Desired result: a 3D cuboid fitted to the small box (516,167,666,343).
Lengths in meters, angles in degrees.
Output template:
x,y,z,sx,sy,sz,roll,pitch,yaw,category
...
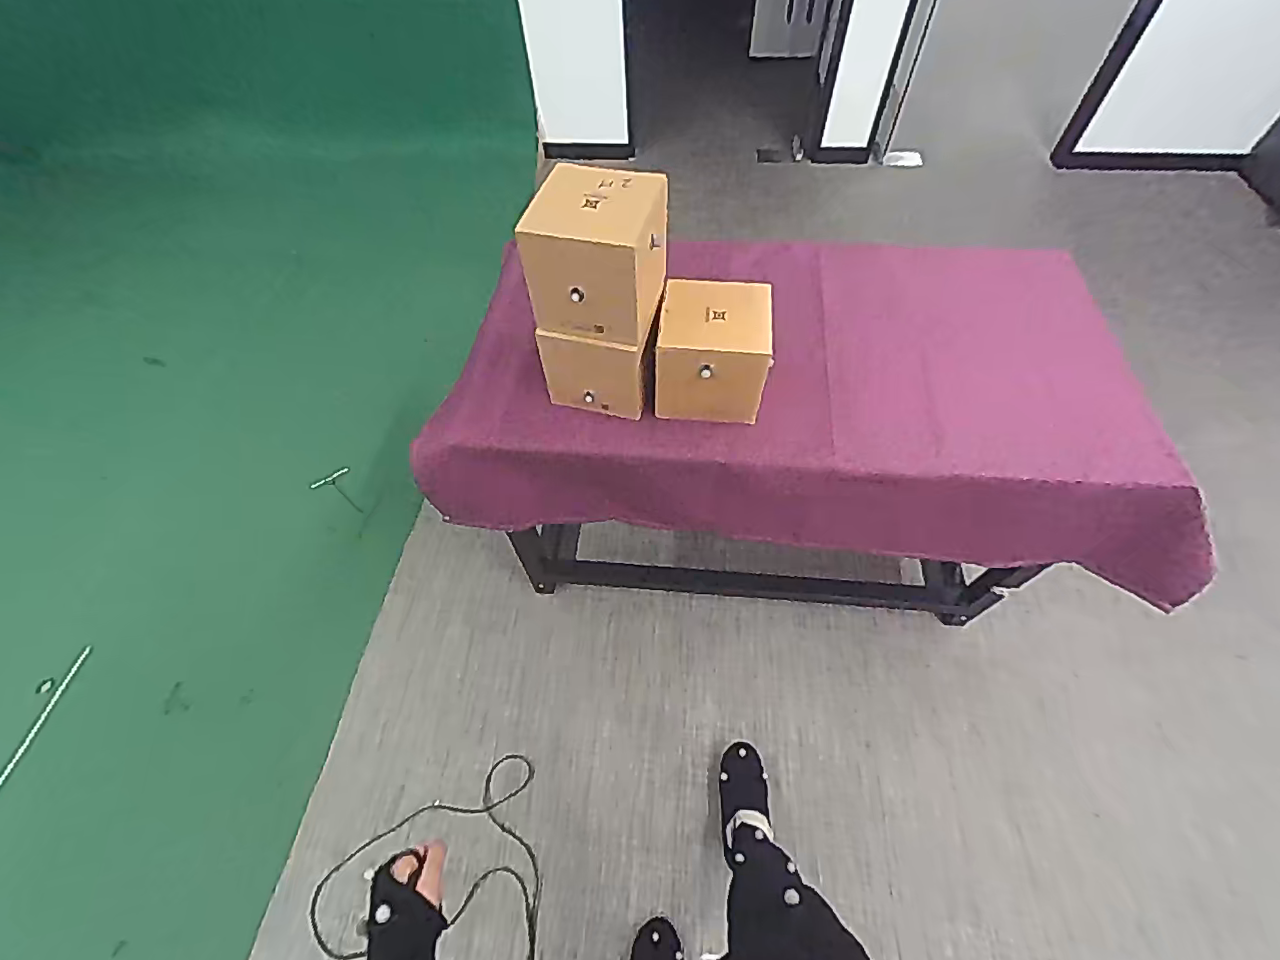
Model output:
x,y,z,sx,sy,sz,roll,pitch,yaw,category
-0.060,-0.329,0.802,0.168,0.176,0.179,13,58,9,small box
